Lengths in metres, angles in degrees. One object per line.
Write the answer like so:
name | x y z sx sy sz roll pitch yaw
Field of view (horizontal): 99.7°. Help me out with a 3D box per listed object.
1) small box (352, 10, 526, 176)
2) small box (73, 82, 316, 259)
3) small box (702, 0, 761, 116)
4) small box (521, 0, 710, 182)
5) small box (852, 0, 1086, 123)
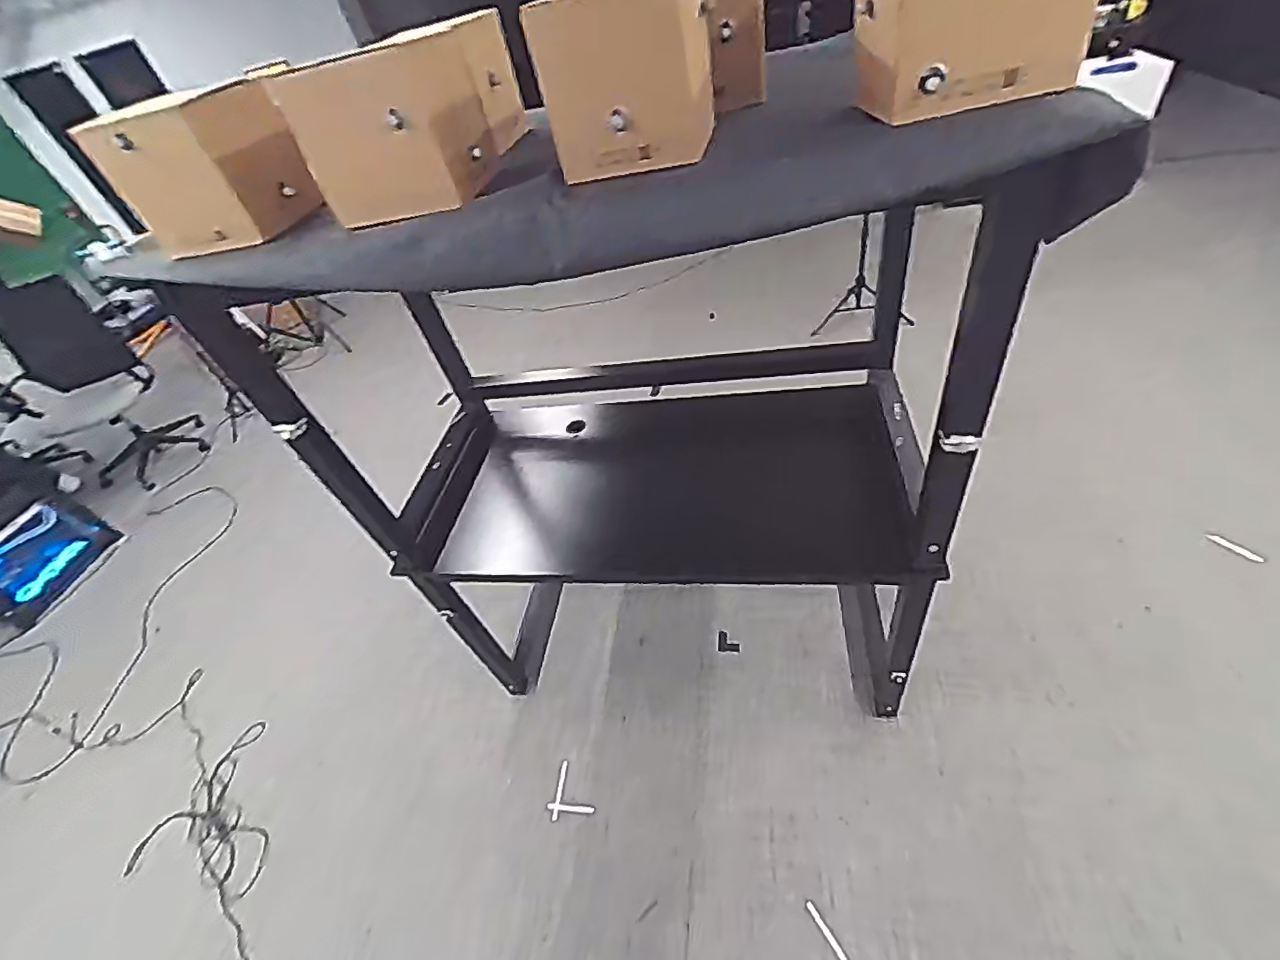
small box | -0.305 -0.615 0.868 0.179 0.176 0.168 -2 46 15
small box | -0.607 -0.439 0.772 0.168 0.176 0.179 -4 45 12
small box | 0.083 -0.632 0.770 0.168 0.176 0.179 -3 46 12
small box | -0.013 -0.474 0.637 0.168 0.176 0.179 0 45 16
small box | 0.313 -0.469 0.530 0.168 0.176 0.179 -6 39 10
